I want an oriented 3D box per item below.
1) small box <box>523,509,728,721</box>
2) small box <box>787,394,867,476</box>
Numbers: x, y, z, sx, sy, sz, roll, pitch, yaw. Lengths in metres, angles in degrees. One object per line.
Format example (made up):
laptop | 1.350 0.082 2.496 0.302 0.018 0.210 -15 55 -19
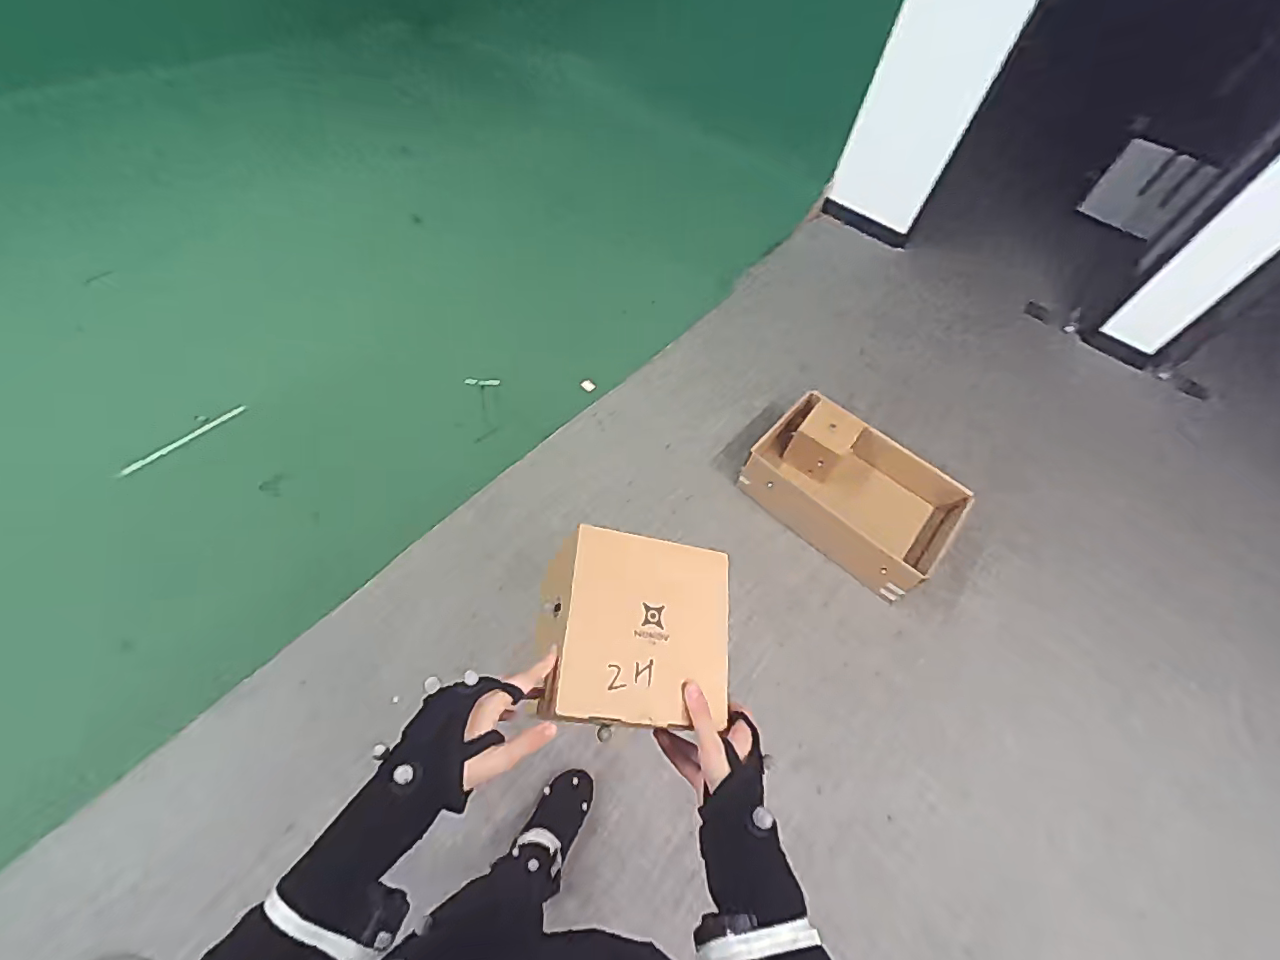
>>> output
small box | -0.020 0.154 0.582 0.168 0.176 0.179 15 64 -15
small box | 0.608 -0.143 1.783 0.168 0.176 0.179 36 60 15
